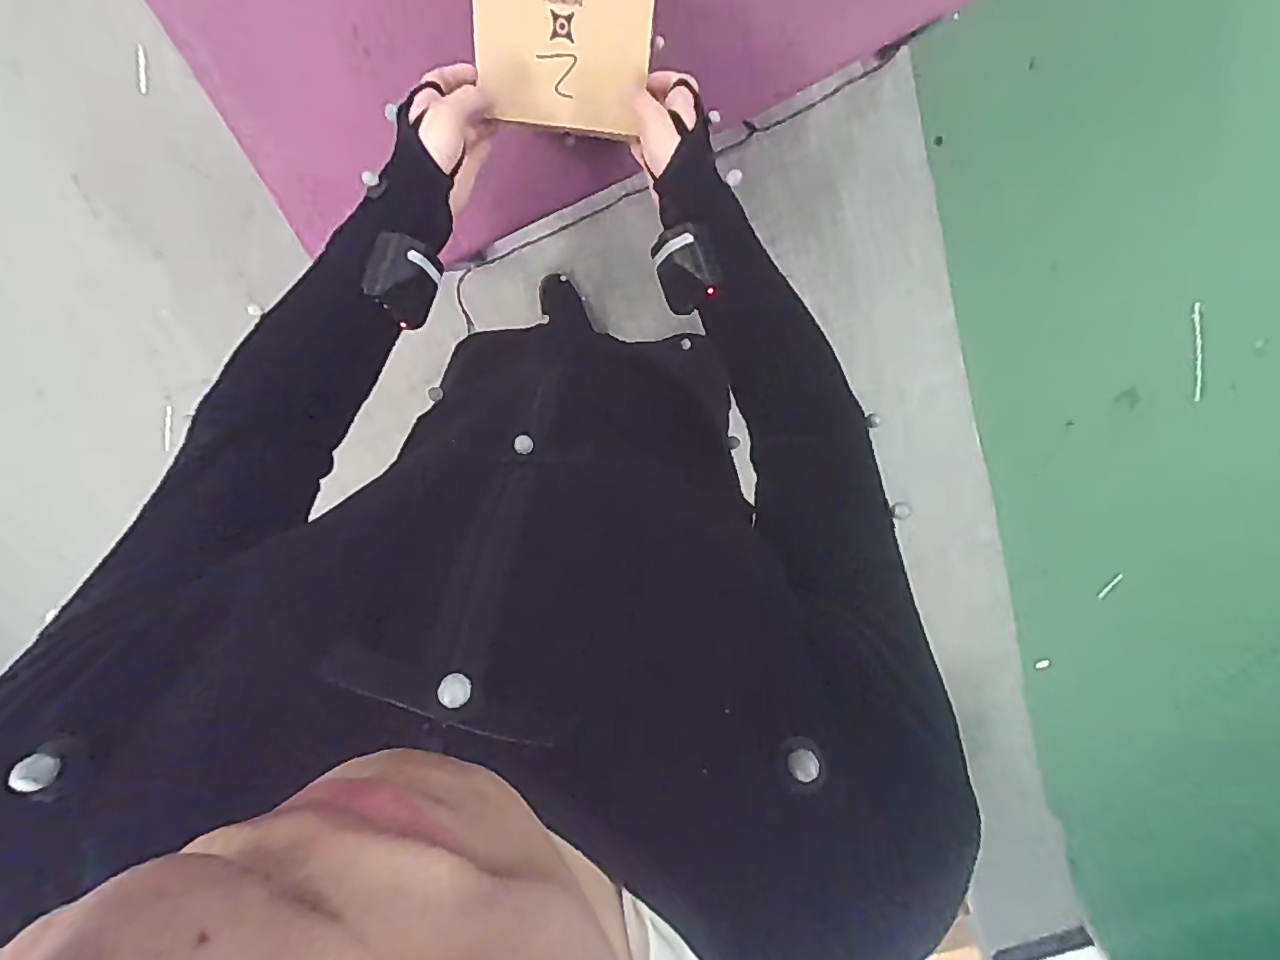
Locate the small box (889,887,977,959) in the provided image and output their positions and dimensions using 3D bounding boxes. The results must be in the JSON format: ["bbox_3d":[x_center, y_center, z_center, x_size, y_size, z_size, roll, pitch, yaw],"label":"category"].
[{"bbox_3d":[0.836,1.305,1.549,0.168,0.176,0.179,-17,112,5],"label":"small box"}]
